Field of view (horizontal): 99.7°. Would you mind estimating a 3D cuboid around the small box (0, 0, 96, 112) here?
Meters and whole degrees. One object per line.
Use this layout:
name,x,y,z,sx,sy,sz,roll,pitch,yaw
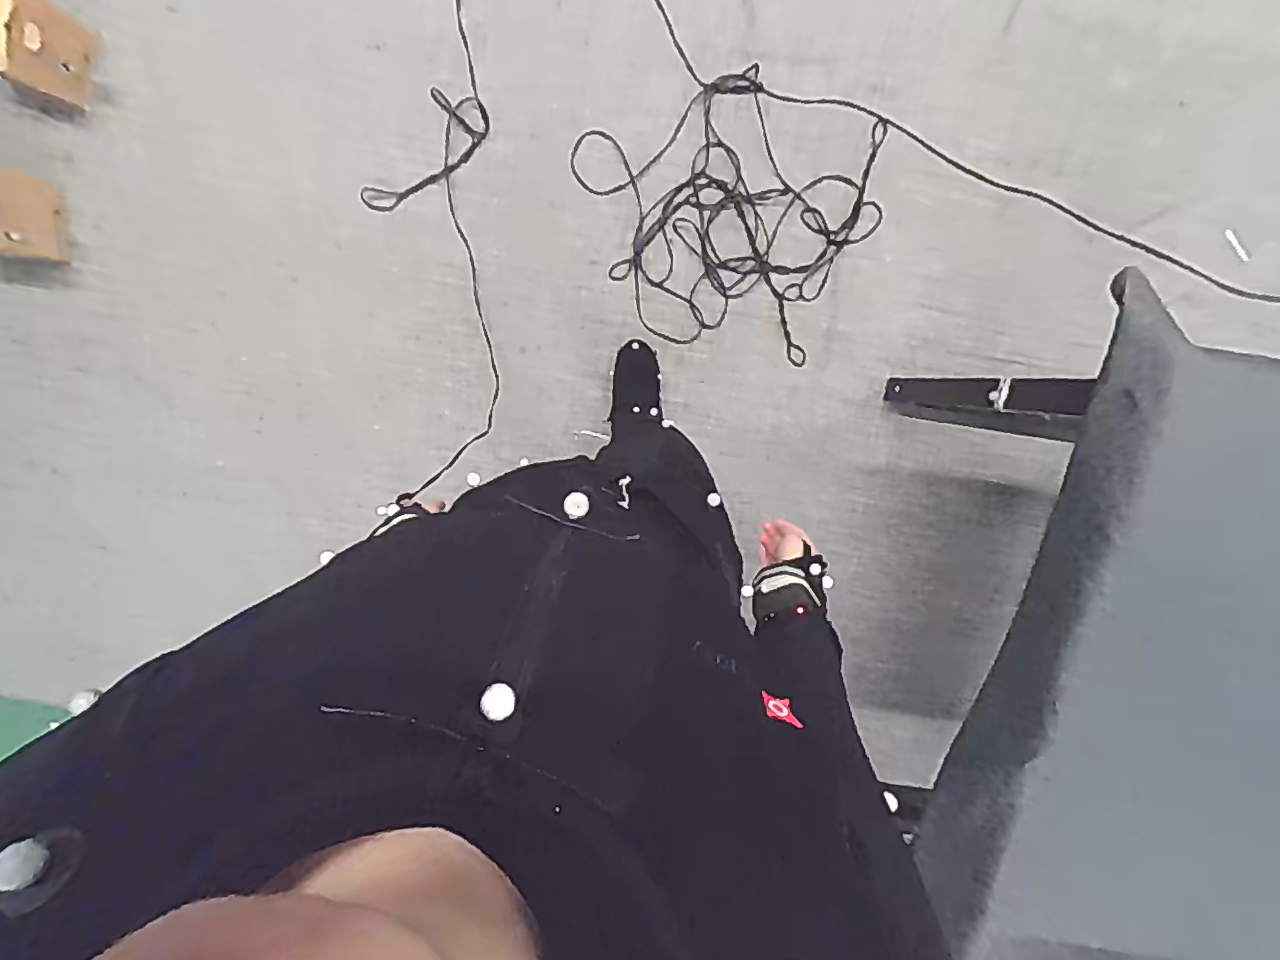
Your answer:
small box,-1.281,-0.892,1.095,0.179,0.176,0.168,20,100,-4
